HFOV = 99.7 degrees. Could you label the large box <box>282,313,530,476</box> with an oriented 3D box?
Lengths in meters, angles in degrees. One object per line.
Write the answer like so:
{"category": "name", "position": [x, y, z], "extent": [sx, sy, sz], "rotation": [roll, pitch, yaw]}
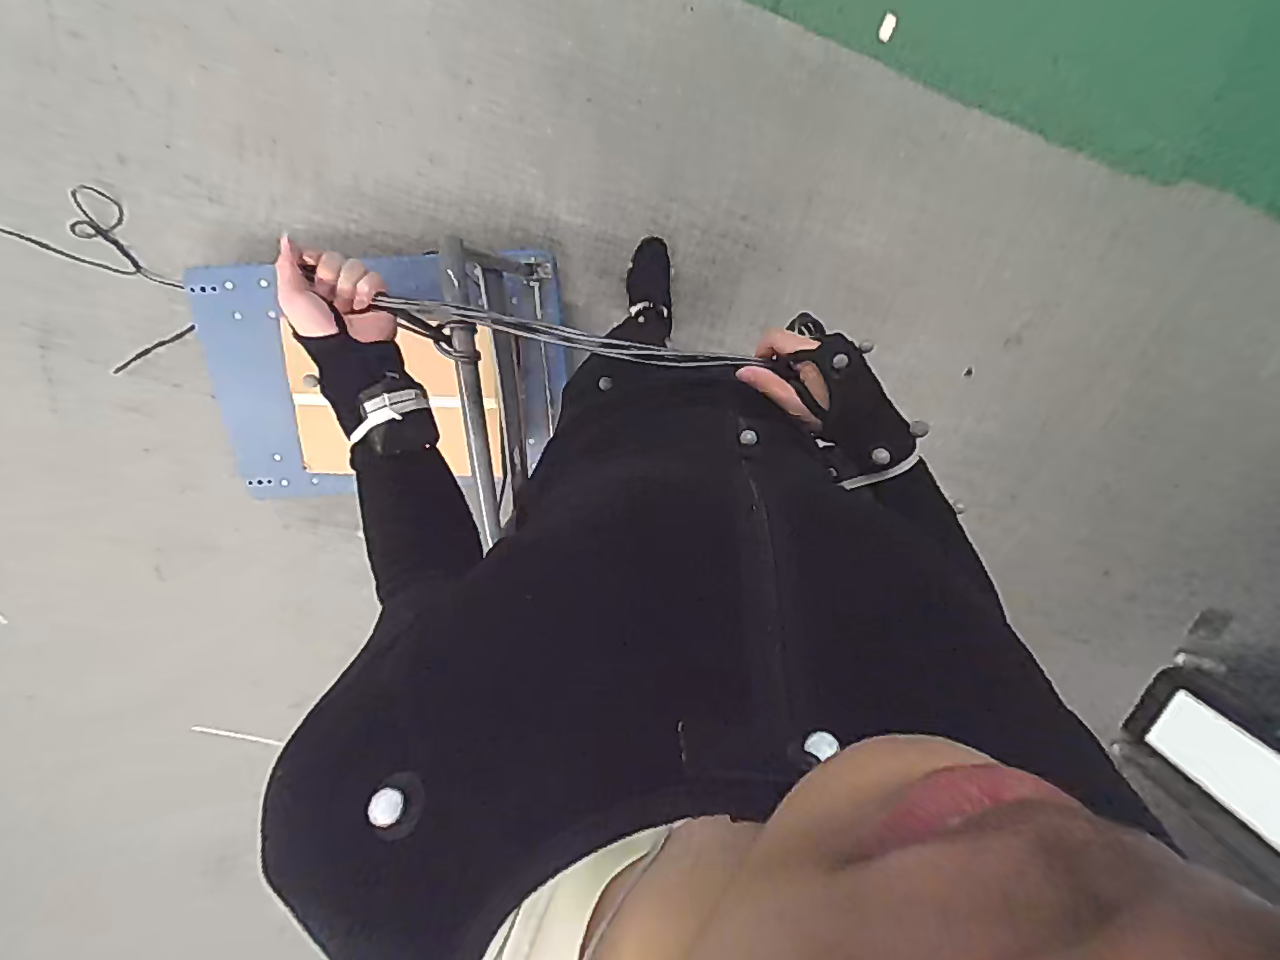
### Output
{"category": "large box", "position": [-0.476, -0.204, 1.201], "extent": [0.408, 0.320, 0.320], "rotation": [1, 108, -2]}
